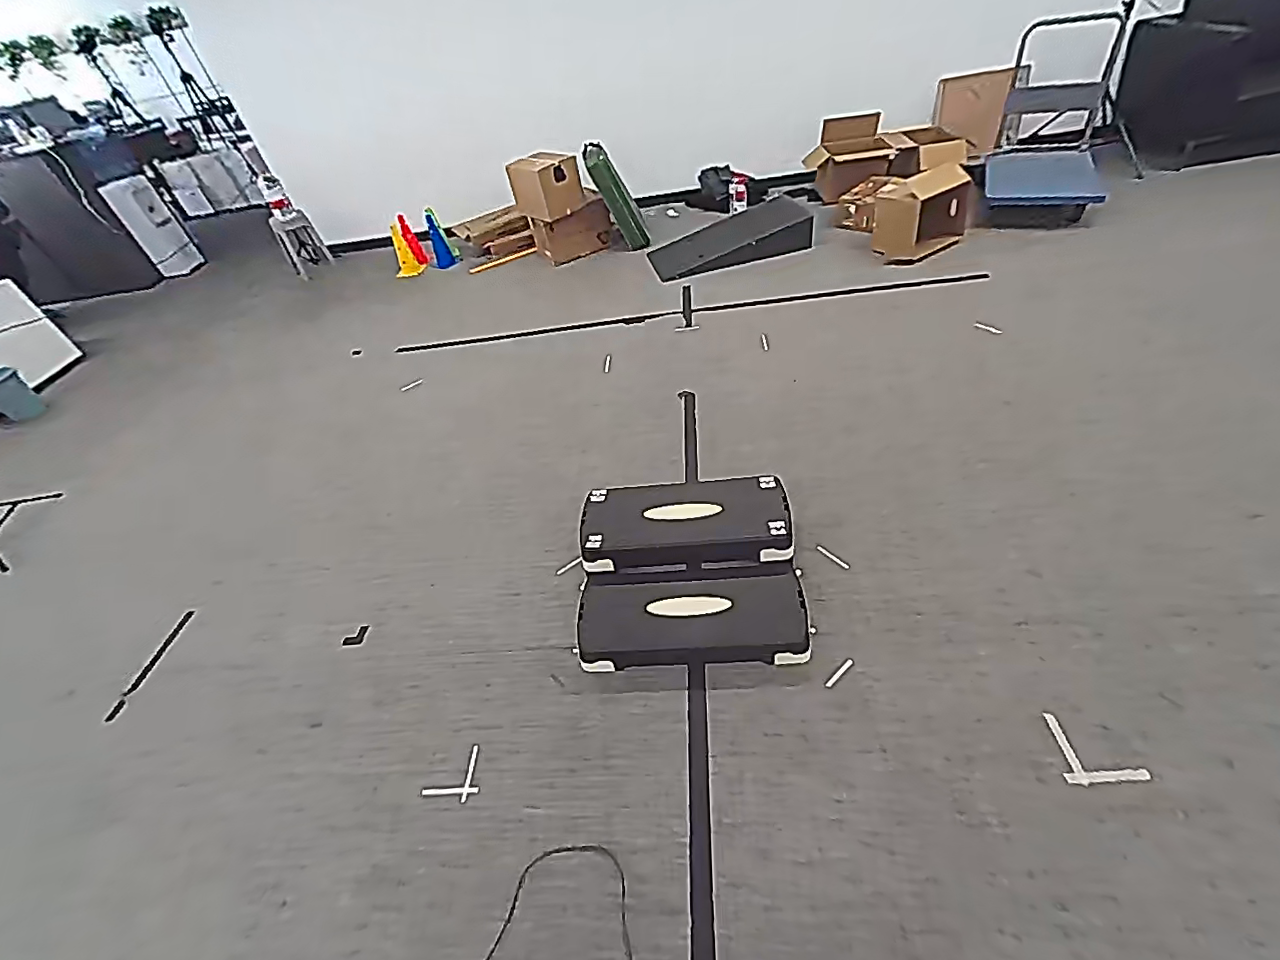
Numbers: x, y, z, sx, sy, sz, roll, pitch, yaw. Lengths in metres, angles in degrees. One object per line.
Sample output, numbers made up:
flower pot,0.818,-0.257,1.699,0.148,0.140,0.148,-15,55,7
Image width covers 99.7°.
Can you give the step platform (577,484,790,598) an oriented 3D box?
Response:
step platform,0.136,0.194,1.766,0.684,0.204,0.286,-5,44,6
